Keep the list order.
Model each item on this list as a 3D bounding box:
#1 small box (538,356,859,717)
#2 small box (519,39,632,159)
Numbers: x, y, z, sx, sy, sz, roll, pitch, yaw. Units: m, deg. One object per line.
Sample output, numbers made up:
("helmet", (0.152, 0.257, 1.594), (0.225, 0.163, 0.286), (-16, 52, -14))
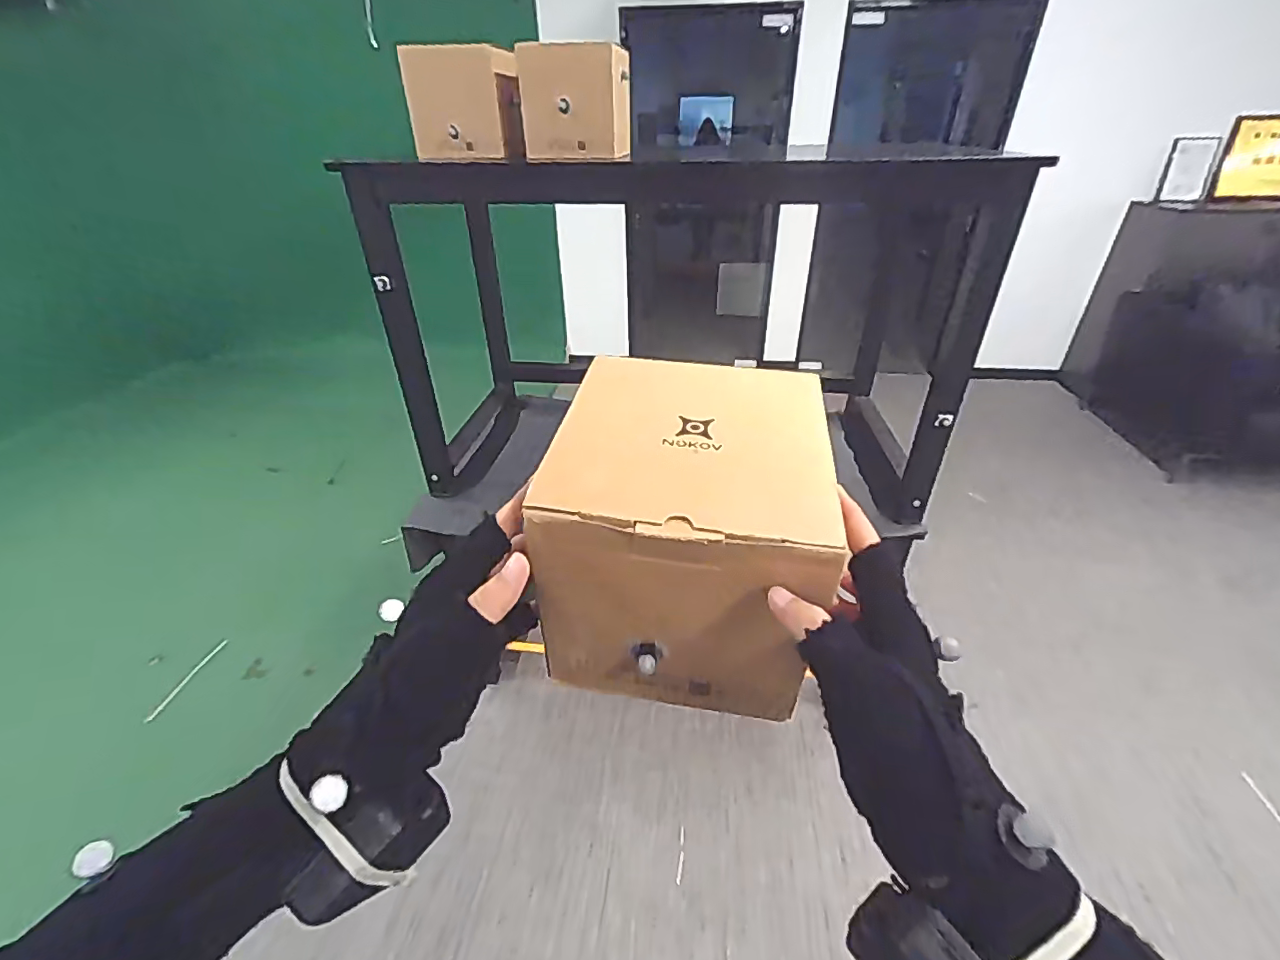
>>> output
("small box", (0.038, 0.034, 0.382), (0.168, 0.176, 0.179), (7, 40, 7))
("small box", (-0.106, -0.689, 0.990), (0.168, 0.176, 0.179), (4, 34, 7))
